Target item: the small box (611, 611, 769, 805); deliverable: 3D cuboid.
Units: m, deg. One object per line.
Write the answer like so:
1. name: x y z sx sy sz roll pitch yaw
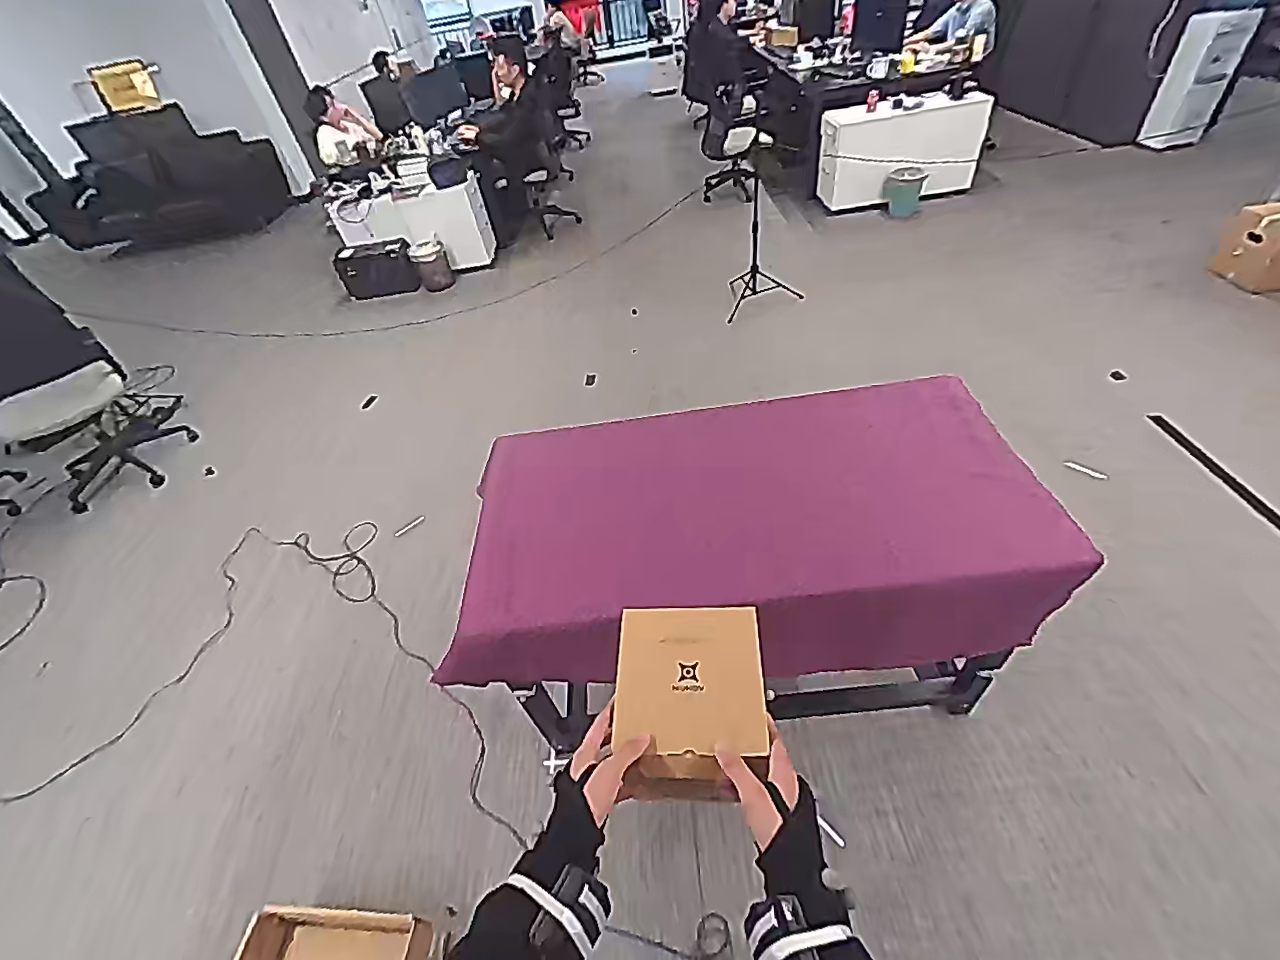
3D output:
1. small box: 0.066 0.280 0.662 0.168 0.176 0.179 -2 45 7
